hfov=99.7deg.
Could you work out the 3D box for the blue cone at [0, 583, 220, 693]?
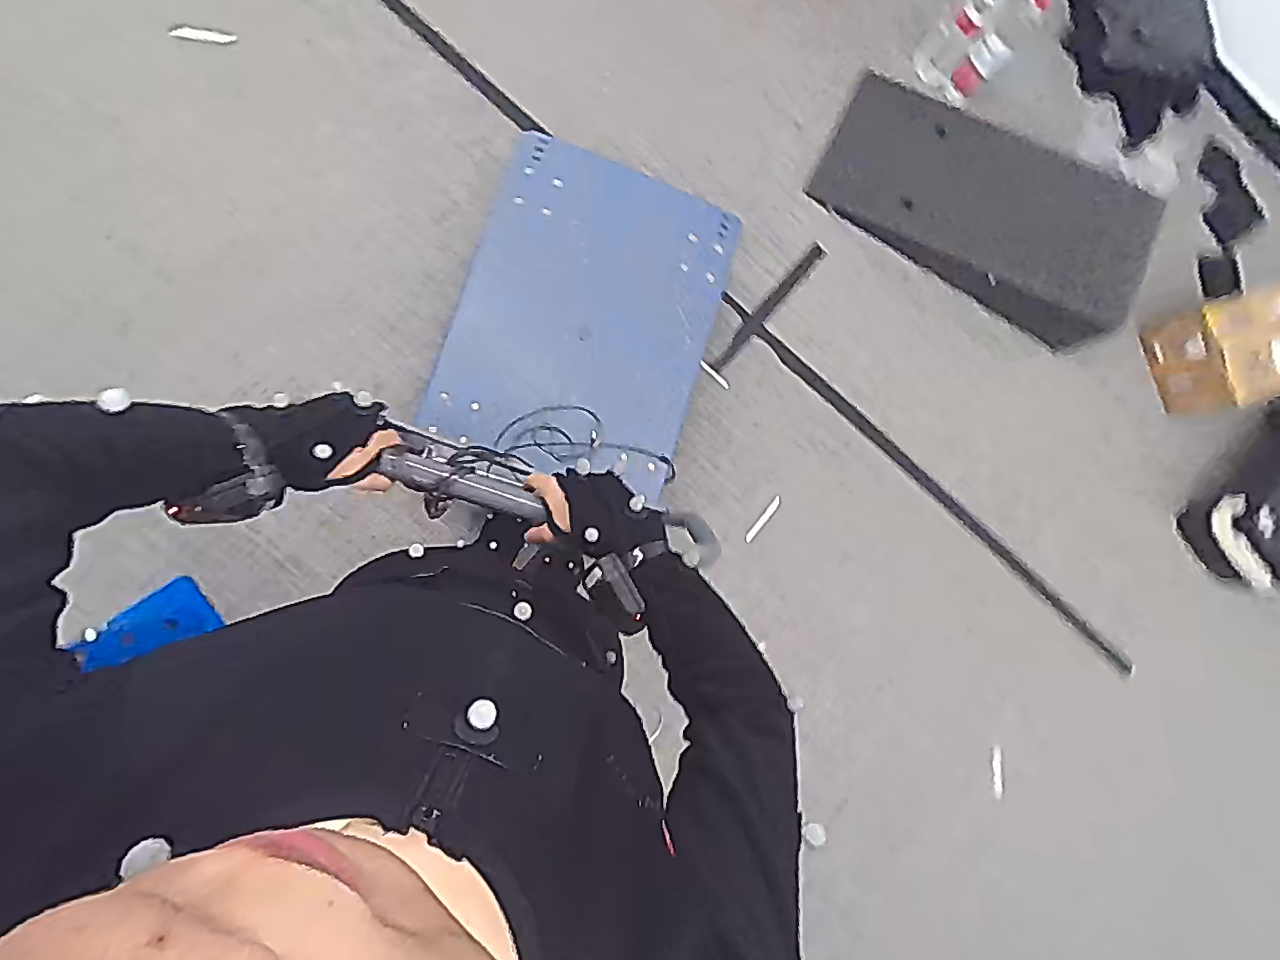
[{"bbox_3d":[-1.023,0.328,1.031,0.192,0.380,0.193,-34,92,-11],"label":"blue cone"}]
